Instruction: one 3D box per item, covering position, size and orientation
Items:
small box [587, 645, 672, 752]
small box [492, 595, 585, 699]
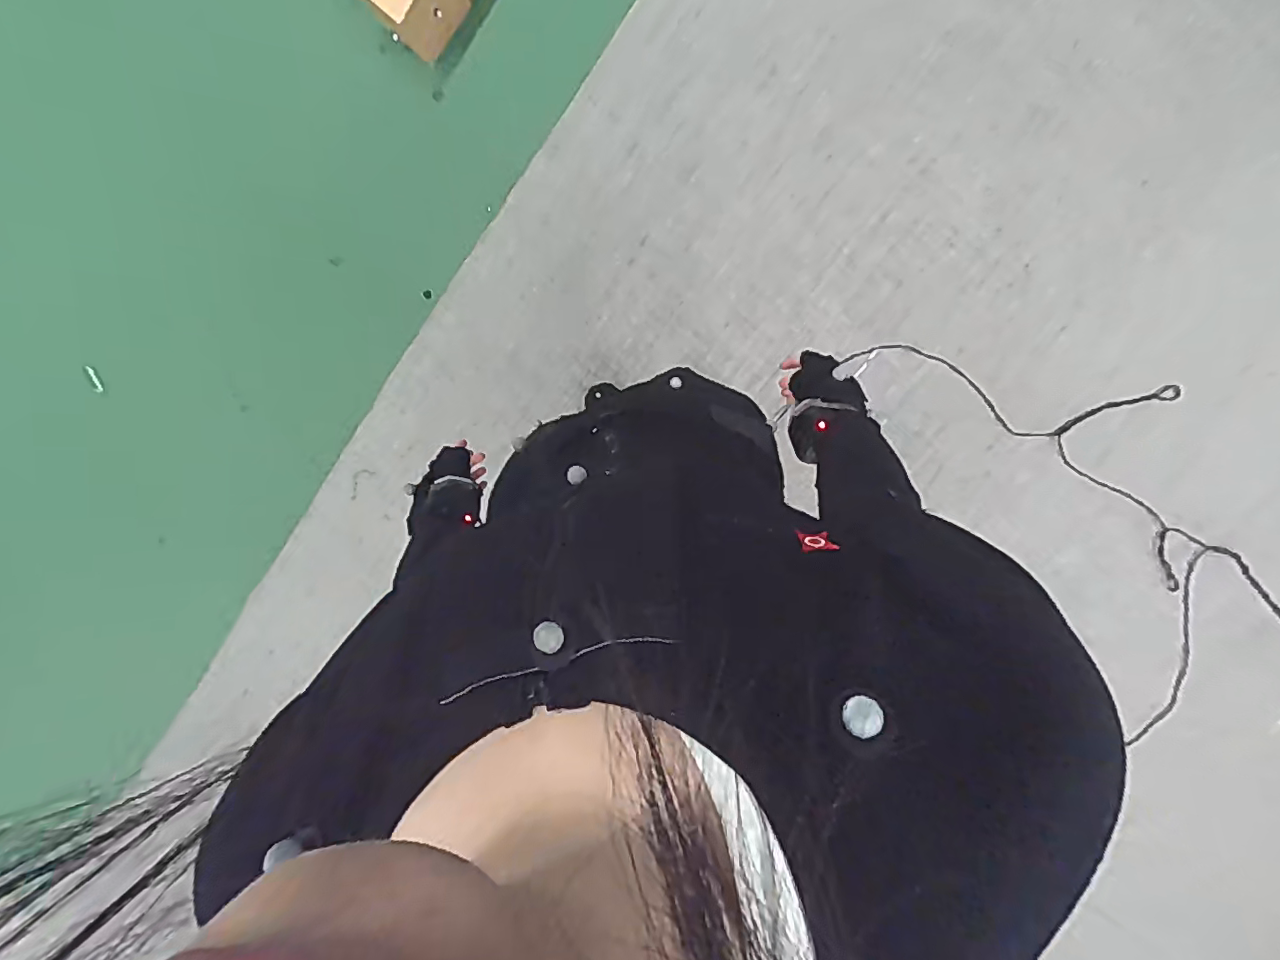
[{"bbox_3d":[-0.027,0.591,1.487,0.168,0.176,0.179,32,100,-3],"label":"small box"},{"bbox_3d":[-0.268,0.449,1.479,0.168,0.176,0.179,38,99,-5],"label":"small box"}]
